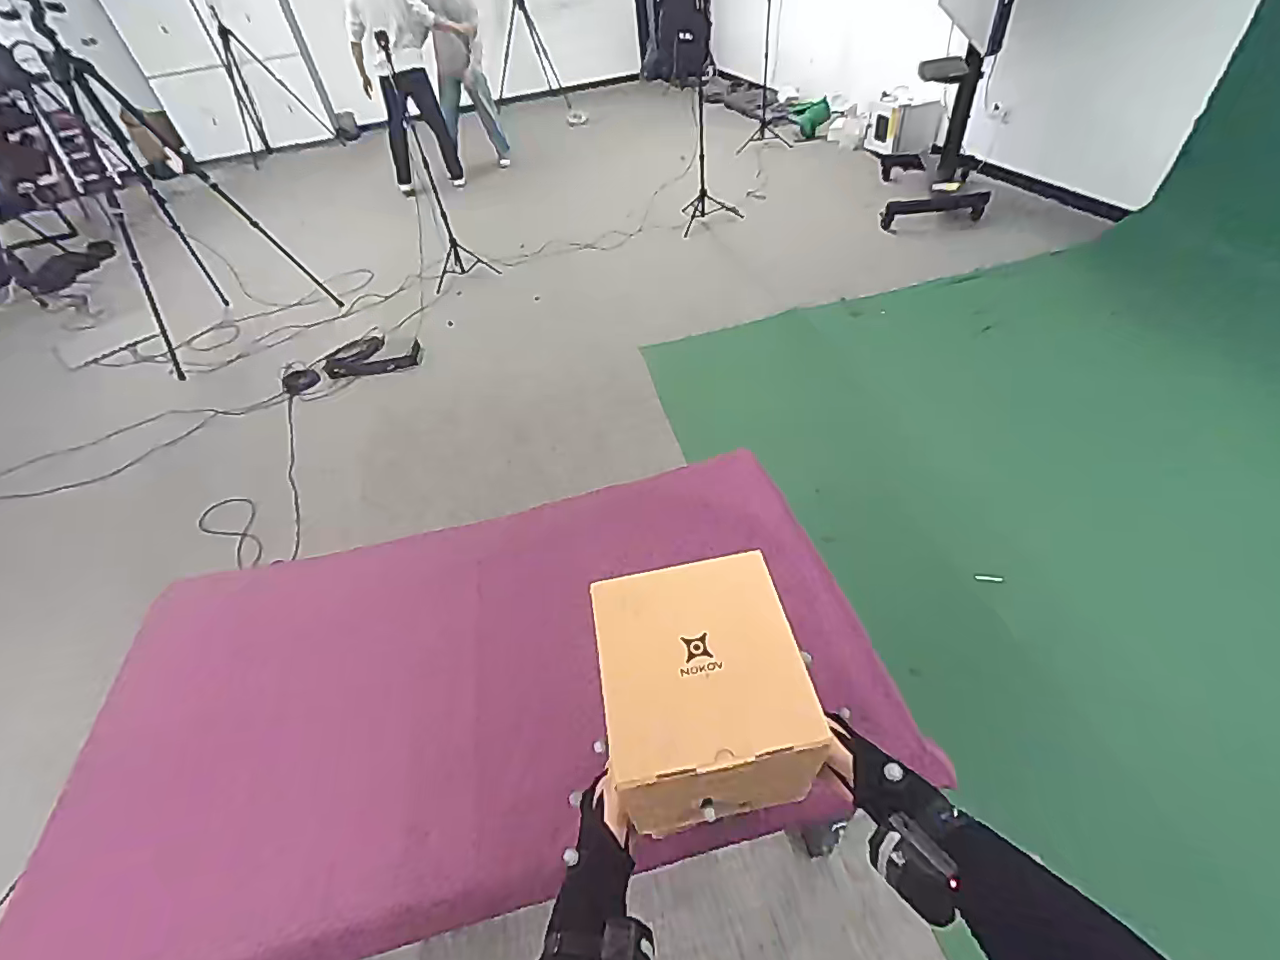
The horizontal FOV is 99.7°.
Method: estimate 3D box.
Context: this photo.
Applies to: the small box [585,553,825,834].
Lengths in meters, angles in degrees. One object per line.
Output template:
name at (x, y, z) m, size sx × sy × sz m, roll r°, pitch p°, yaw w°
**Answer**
small box at (0.048, 0.197, 0.500) m, size 0.168 × 0.176 × 0.179 m, roll -11°, pitch 47°, yaw -3°
